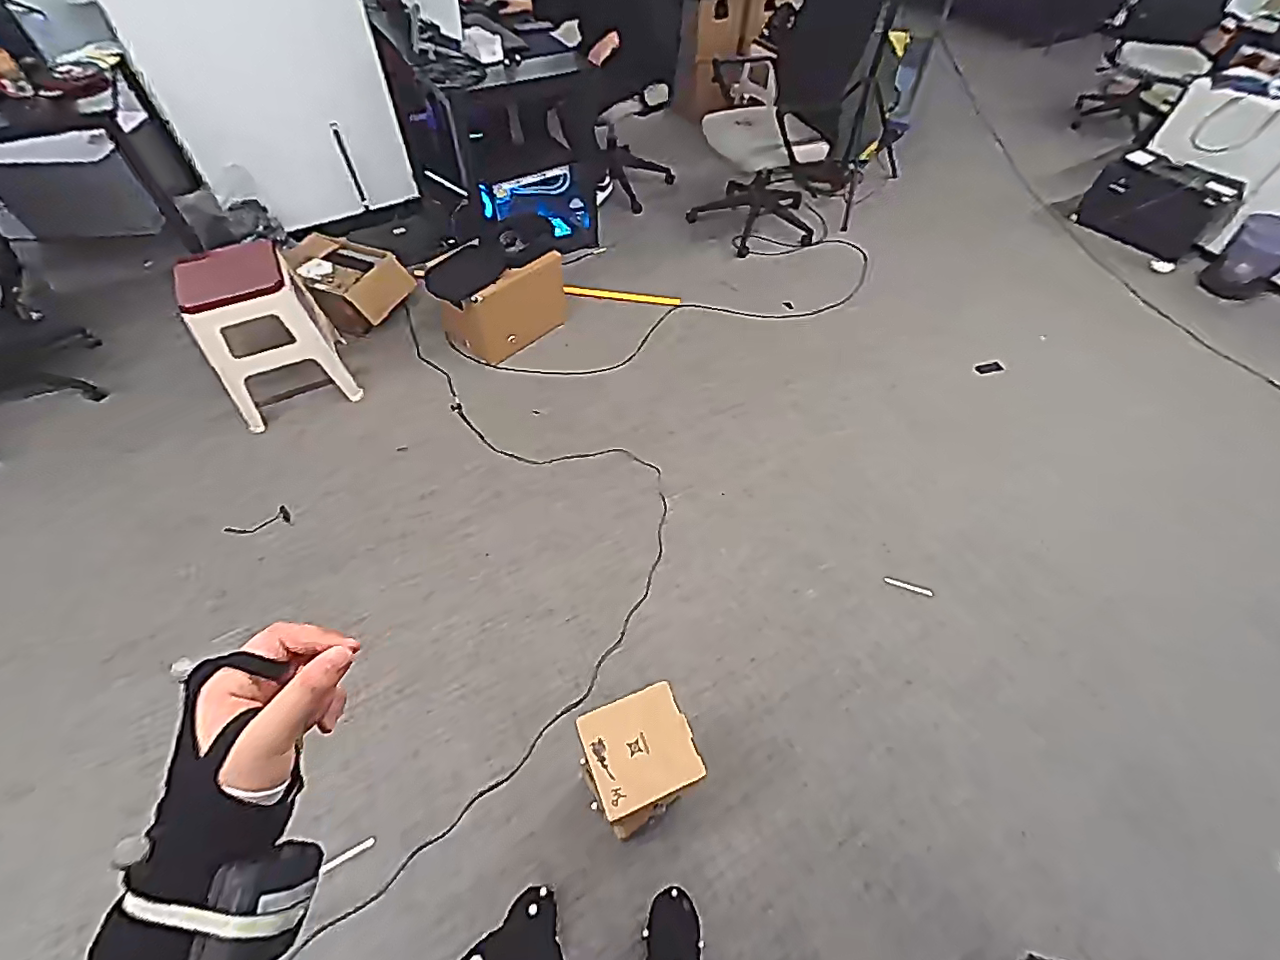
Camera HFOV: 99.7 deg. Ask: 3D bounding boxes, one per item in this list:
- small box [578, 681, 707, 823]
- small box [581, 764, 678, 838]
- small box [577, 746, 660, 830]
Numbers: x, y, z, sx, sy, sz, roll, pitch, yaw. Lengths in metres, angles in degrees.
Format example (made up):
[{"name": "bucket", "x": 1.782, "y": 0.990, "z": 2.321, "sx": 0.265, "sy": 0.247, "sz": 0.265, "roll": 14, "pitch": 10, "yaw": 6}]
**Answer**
[{"name": "small box", "x": -0.003, "y": 0.491, "z": 0.974, "sx": 0.179, "sy": 0.176, "sz": 0.168, "roll": -18, "pitch": 57, "yaw": -16}, {"name": "small box", "x": -0.018, "y": 0.684, "z": 1.236, "sx": 0.179, "sy": 0.176, "sz": 0.168, "roll": -29, "pitch": 60, "yaw": -20}, {"name": "small box", "x": -0.010, "y": 0.585, "z": 1.108, "sx": 0.179, "sy": 0.176, "sz": 0.168, "roll": -31, "pitch": 62, "yaw": -23}]
